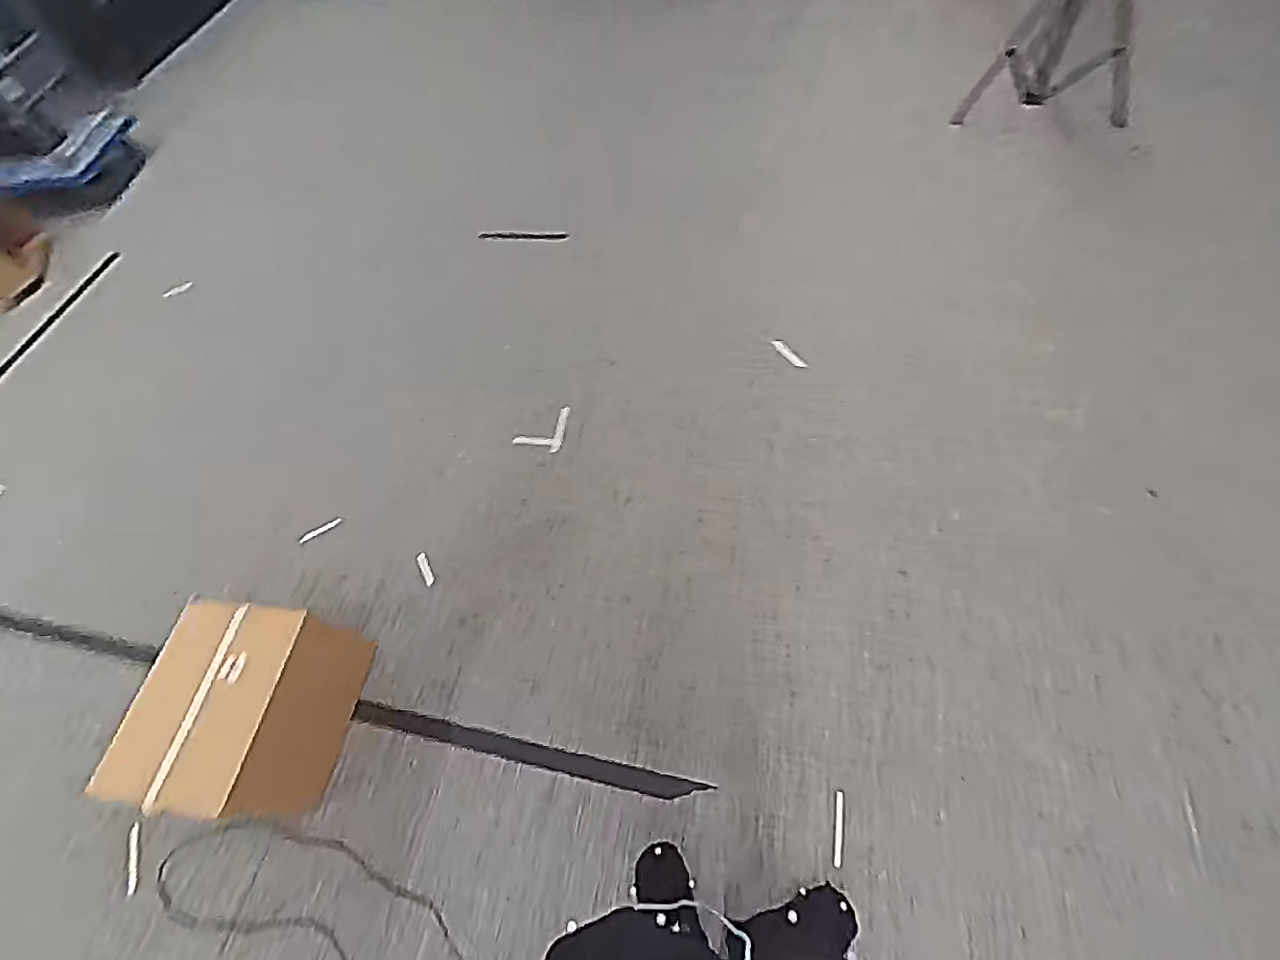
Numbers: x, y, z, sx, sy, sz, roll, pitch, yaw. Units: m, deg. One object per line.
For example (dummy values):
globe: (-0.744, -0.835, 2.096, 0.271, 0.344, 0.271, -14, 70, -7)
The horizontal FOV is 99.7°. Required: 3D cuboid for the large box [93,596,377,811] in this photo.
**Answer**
large box: (-0.905, 0.531, 1.279, 0.320, 0.320, 0.408, 5, 59, 9)
